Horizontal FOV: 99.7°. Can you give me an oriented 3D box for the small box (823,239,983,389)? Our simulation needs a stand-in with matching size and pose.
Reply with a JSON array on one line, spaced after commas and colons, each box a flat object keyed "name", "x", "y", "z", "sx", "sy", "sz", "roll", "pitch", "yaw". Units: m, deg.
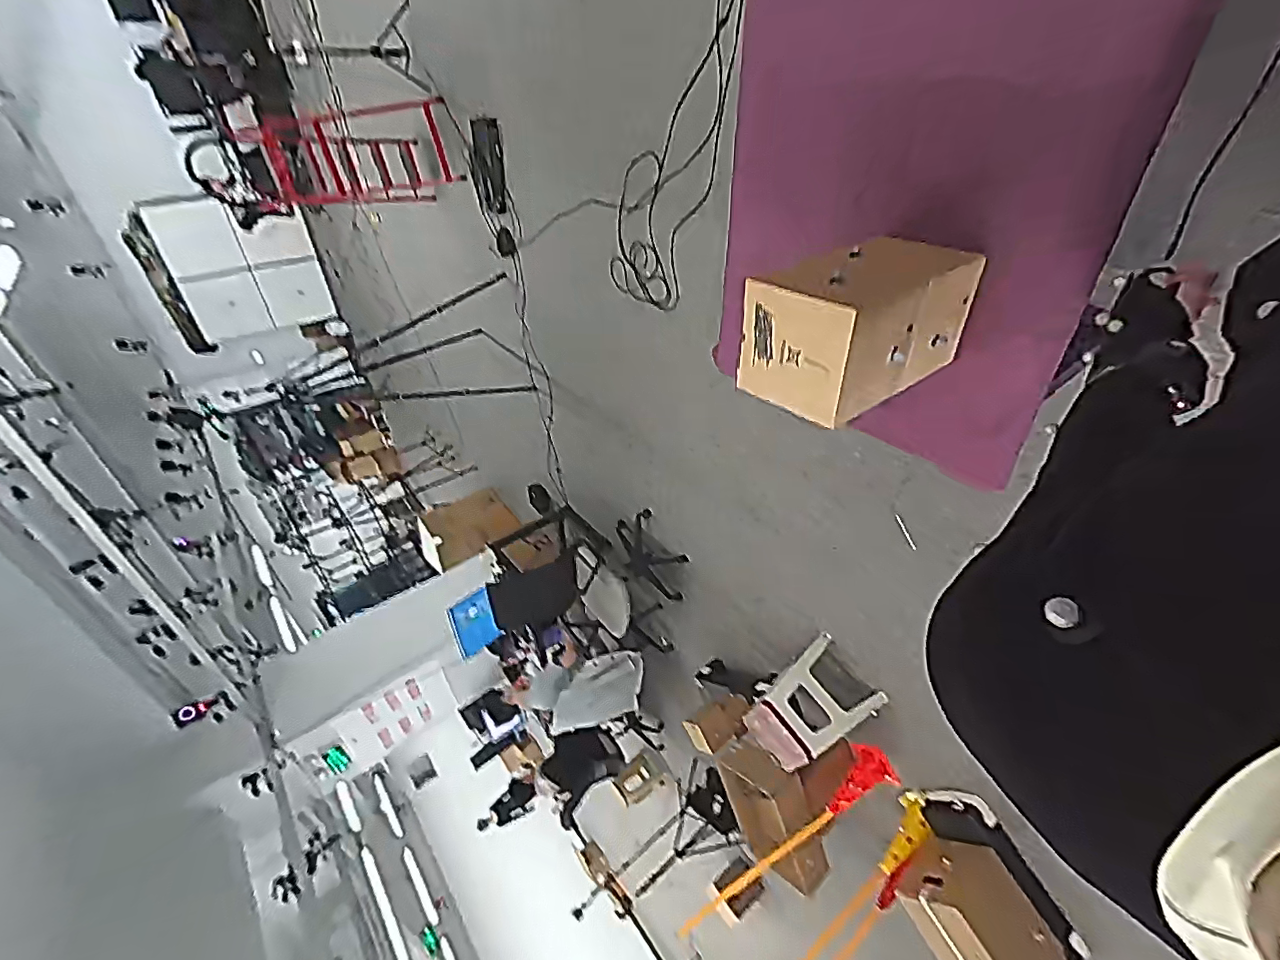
[{"name": "small box", "x": 0.395, "y": -0.268, "z": 0.850, "sx": 0.179, "sy": 0.176, "sz": 0.168, "roll": 36, "pitch": 141, "yaw": 40}]

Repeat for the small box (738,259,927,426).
[{"name": "small box", "x": 0.266, "y": -0.205, "z": 0.770, "sx": 0.179, "sy": 0.176, "sz": 0.168, "roll": 35, "pitch": 141, "yaw": 39}]
